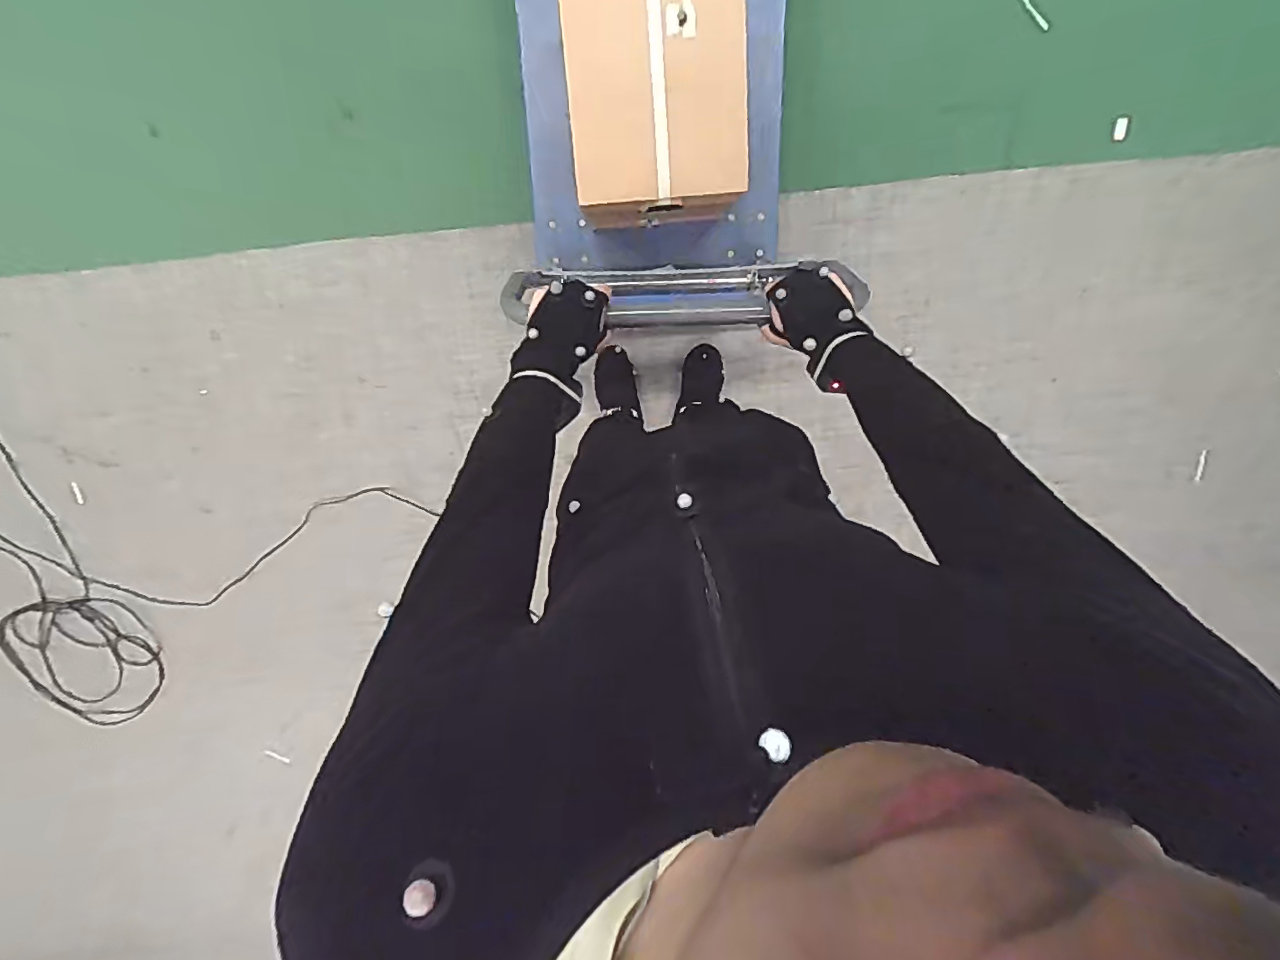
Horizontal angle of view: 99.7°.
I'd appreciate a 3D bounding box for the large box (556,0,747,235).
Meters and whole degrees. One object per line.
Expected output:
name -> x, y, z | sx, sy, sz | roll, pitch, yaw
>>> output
large box -> 0.027, -0.741, 1.082 | 0.320, 0.320, 0.408 | -5, 107, 1
